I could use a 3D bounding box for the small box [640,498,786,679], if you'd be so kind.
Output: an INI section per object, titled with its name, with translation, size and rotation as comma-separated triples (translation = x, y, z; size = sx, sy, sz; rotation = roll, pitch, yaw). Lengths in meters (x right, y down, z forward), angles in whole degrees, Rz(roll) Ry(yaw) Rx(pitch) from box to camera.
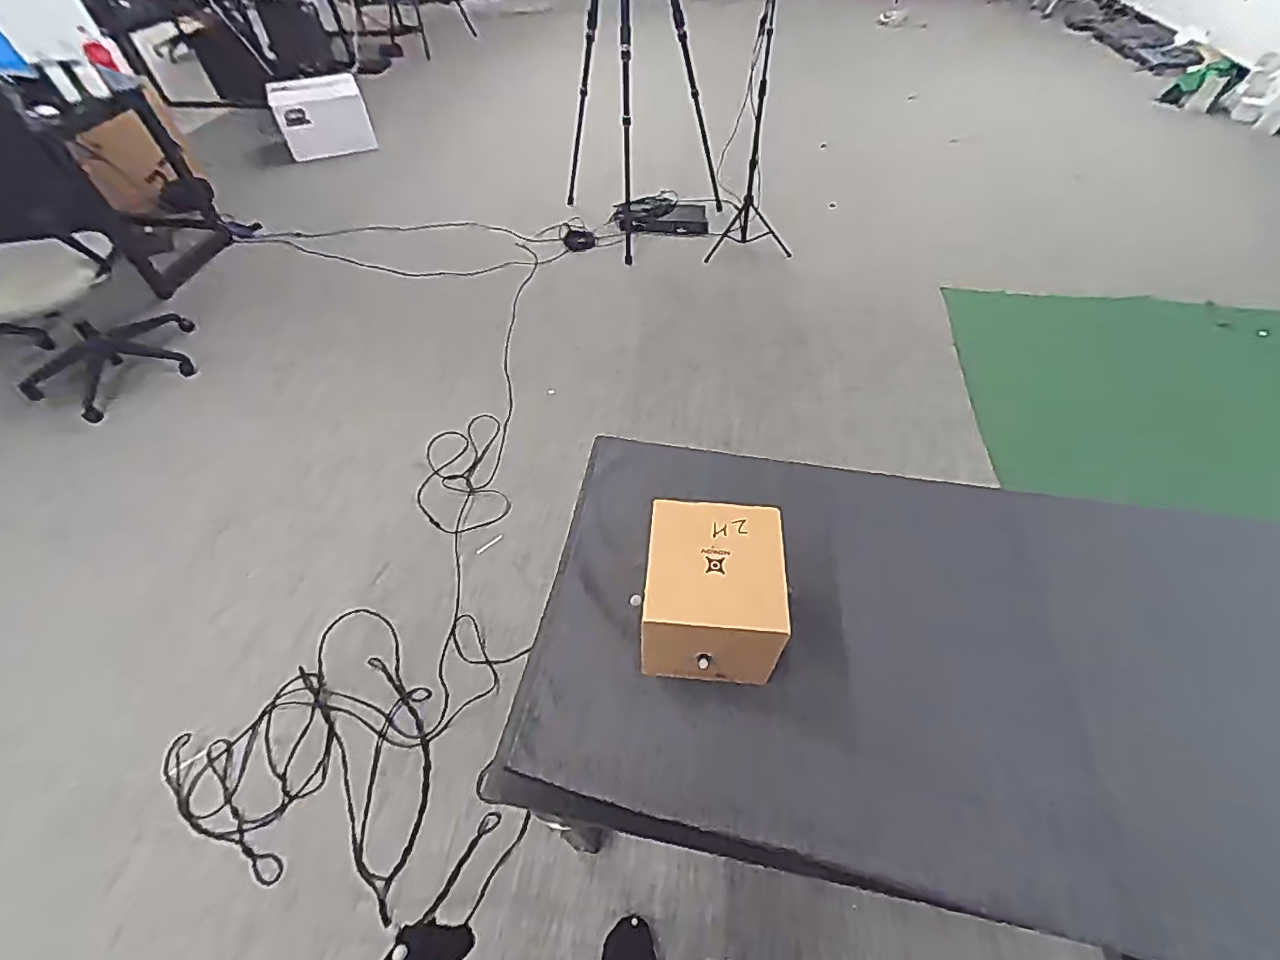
[small box]
translation = 0.091, 0.147, 0.714
size = 0.168, 0.176, 0.179
rotation = 4, 50, 3
